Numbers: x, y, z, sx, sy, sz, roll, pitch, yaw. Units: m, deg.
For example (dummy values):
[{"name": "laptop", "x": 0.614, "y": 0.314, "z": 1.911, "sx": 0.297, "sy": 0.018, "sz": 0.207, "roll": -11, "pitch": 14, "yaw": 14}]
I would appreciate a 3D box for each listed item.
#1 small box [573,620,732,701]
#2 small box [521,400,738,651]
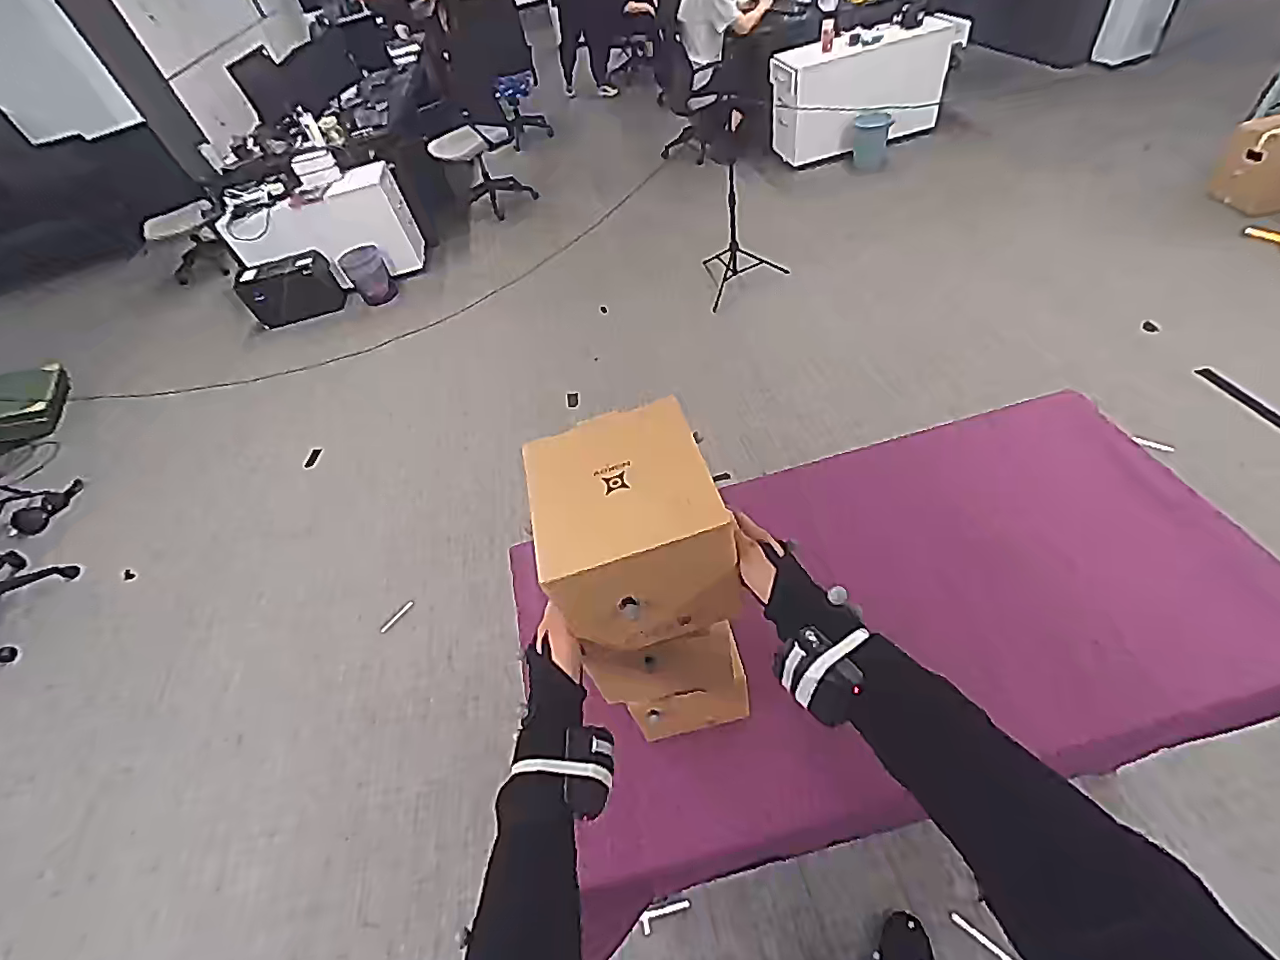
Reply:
[{"name": "small box", "x": 0.019, "y": 0.177, "z": 0.714, "sx": 0.179, "sy": 0.176, "sz": 0.168, "roll": -10, "pitch": 49, "yaw": 4}, {"name": "small box", "x": -0.008, "y": 0.054, "z": 0.553, "sx": 0.168, "sy": 0.176, "sz": 0.179, "roll": -18, "pitch": 47, "yaw": -1}]
